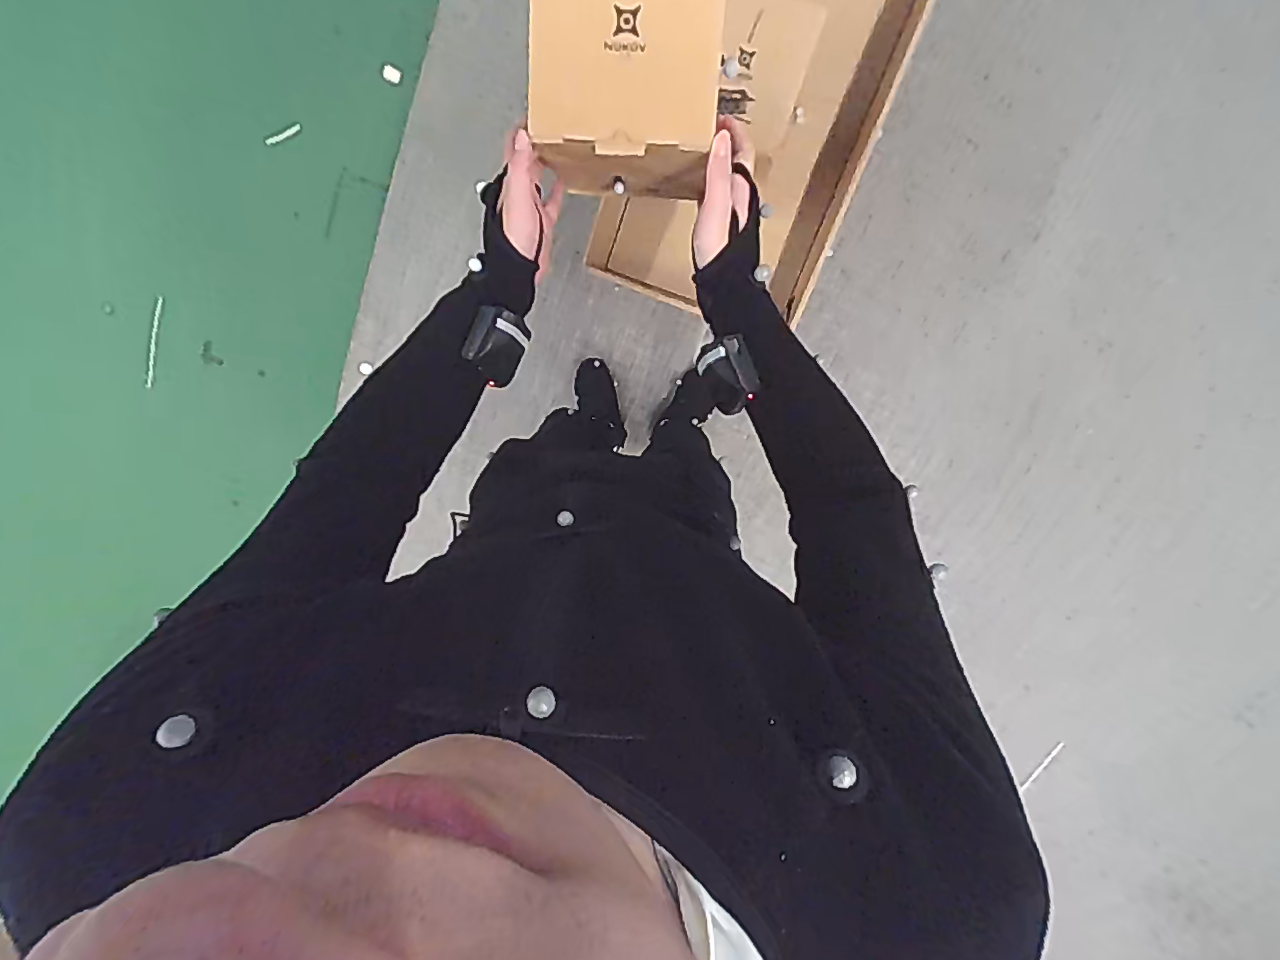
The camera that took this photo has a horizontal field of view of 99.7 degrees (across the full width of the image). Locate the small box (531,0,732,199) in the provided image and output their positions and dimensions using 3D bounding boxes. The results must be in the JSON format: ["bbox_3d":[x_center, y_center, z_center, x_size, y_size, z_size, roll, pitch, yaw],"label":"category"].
[{"bbox_3d":[-0.005,-0.393,0.525,0.168,0.176,0.179,4,106,2],"label":"small box"}]

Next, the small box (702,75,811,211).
[{"bbox_3d":[0.168,-0.594,0.927,0.168,0.176,0.179,22,106,3],"label":"small box"}]

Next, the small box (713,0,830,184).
[{"bbox_3d":[0.145,-0.553,0.770,0.168,0.176,0.179,20,105,3],"label":"small box"}]
